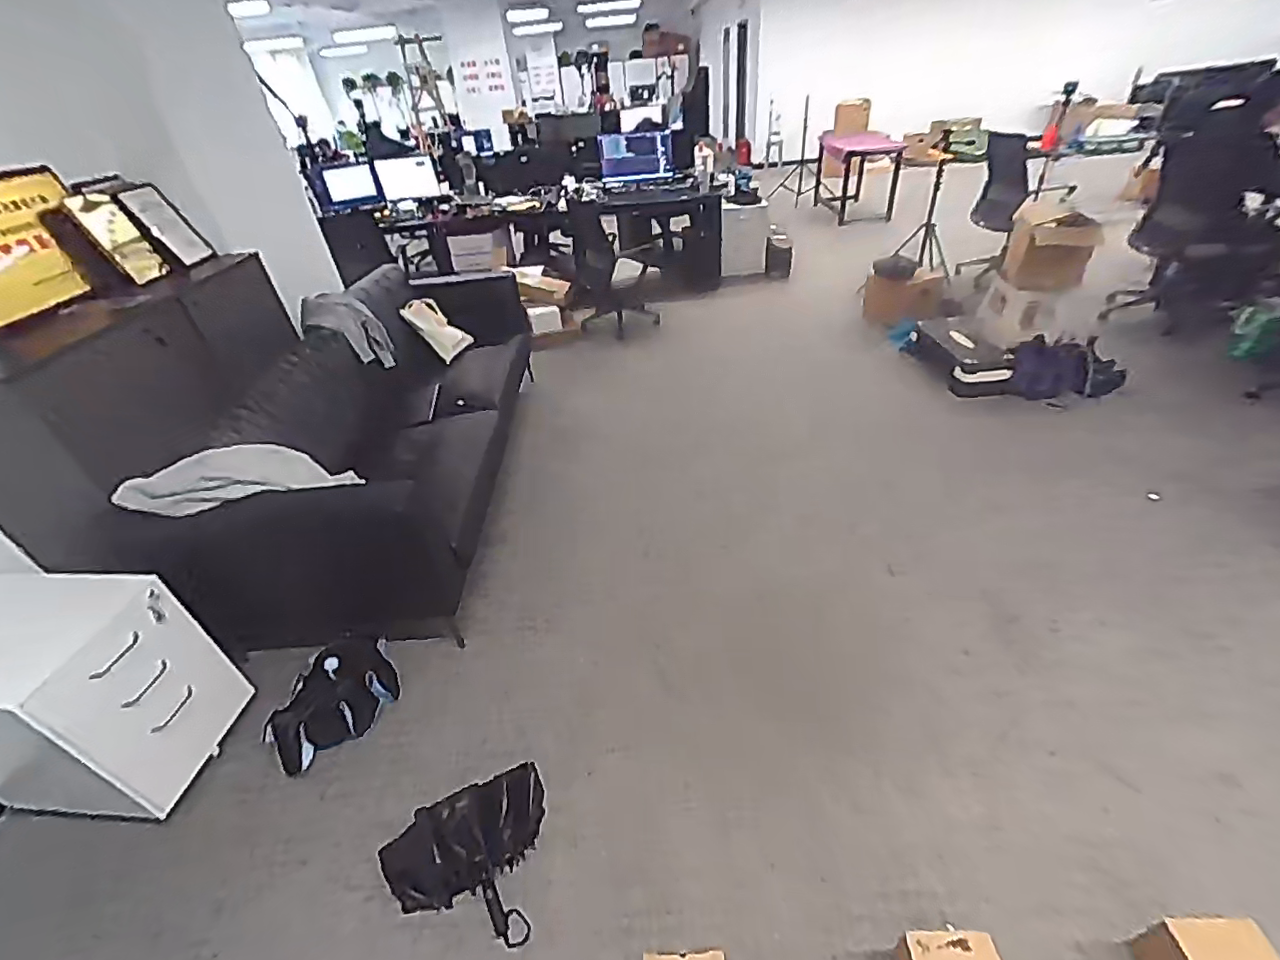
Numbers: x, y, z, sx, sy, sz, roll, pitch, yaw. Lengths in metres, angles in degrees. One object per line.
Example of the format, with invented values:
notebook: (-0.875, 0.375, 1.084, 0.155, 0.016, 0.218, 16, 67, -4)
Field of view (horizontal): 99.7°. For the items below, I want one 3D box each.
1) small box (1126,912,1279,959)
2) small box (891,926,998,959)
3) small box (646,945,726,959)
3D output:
small box: (1.117, 0.973, 1.050, 0.168, 0.176, 0.179, -4, 36, 4)
small box: (0.620, 1.019, 1.074, 0.168, 0.176, 0.179, -4, 37, 5)
small box: (0.099, 1.073, 1.087, 0.168, 0.176, 0.179, -5, 38, 3)
